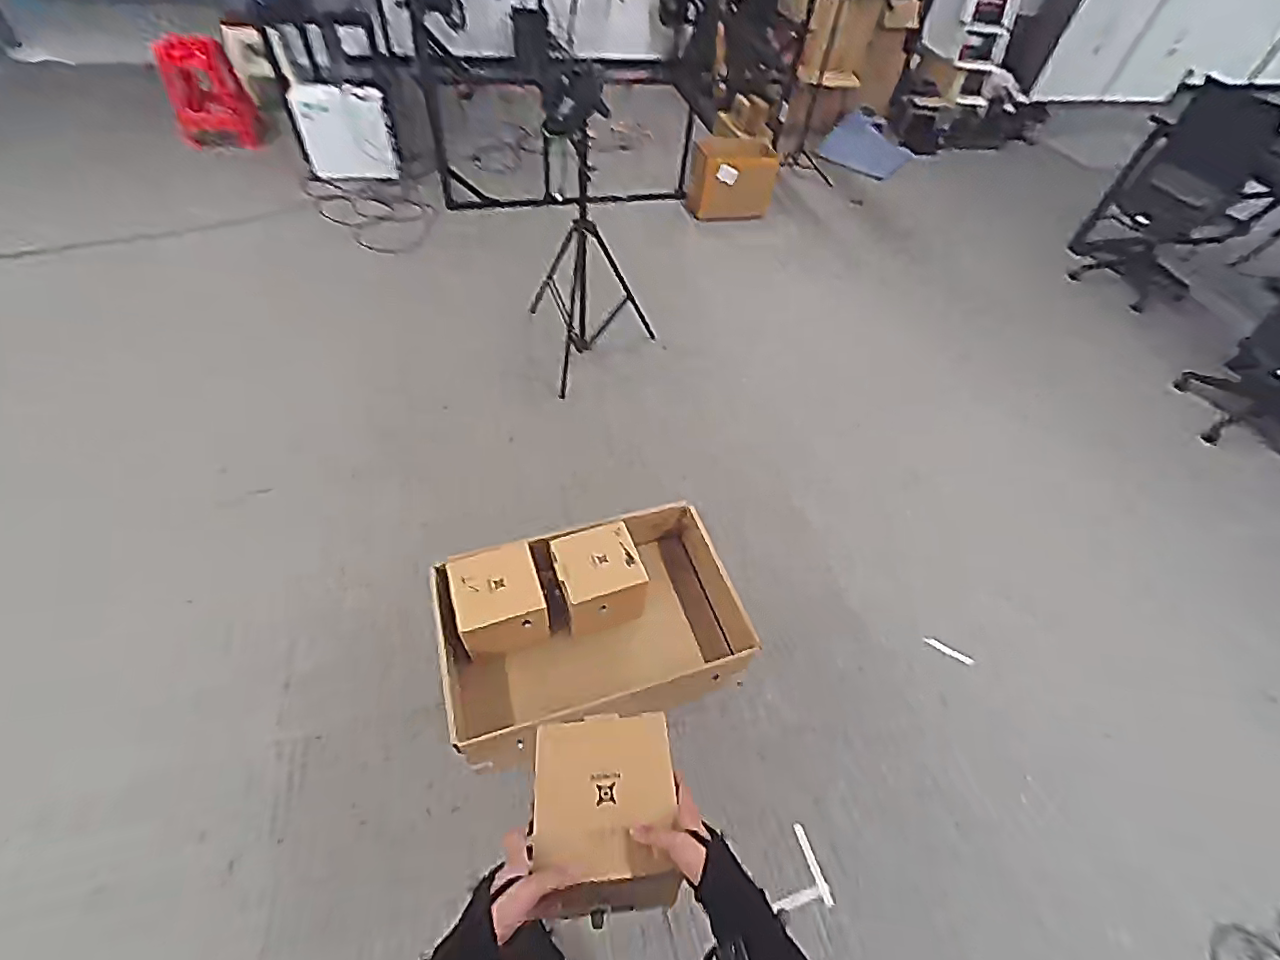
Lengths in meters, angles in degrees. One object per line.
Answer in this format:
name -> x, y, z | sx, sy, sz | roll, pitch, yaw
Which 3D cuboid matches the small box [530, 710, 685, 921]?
small box -> -0.043, 0.418, 0.680 | 0.168, 0.176, 0.179 | -3, 41, -5
